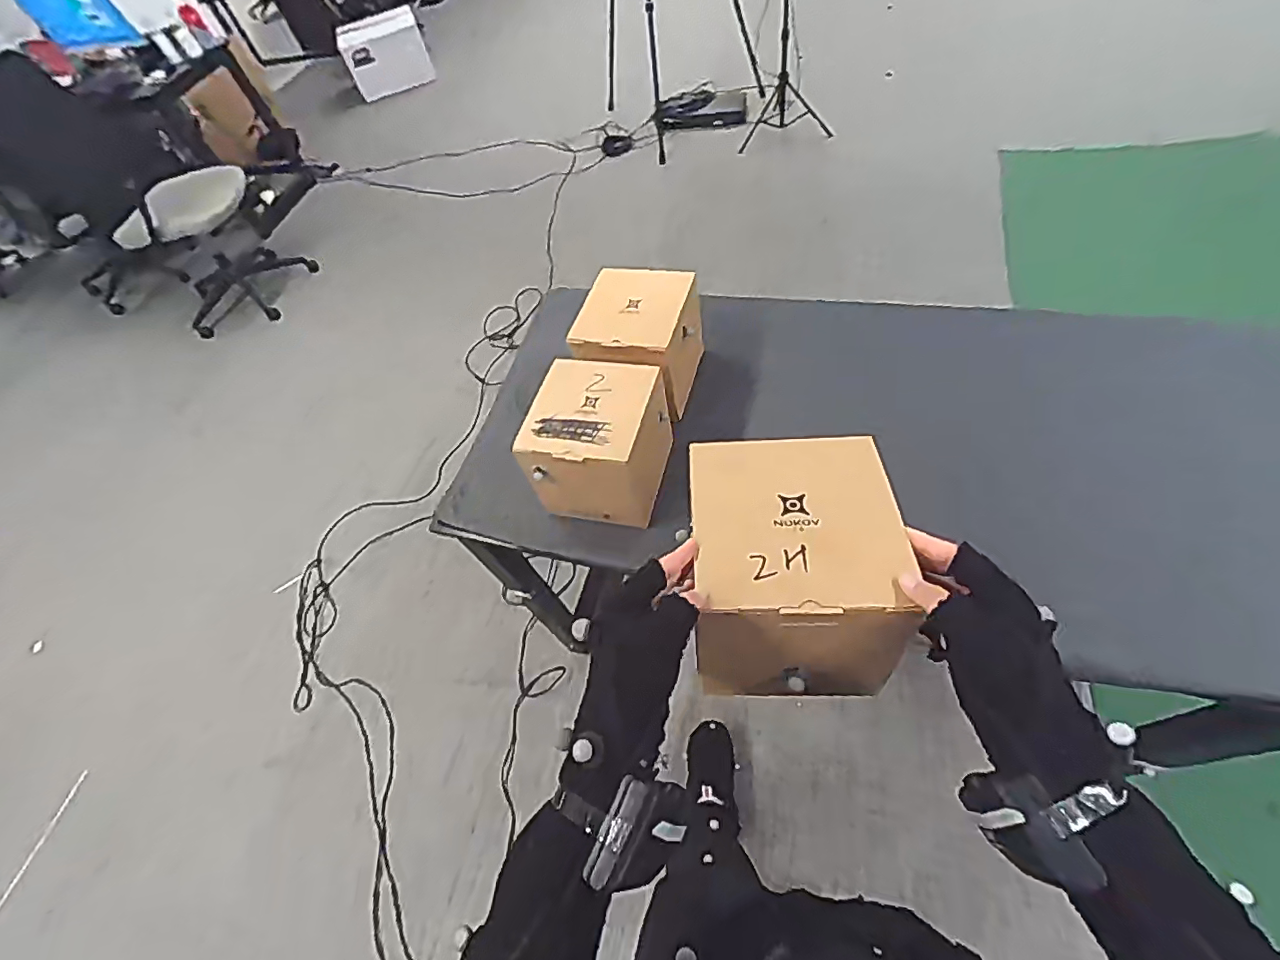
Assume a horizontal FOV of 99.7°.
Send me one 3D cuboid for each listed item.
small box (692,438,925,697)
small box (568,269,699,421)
[{"bbox_3d":[0.132,0.081,0.502,0.168,0.176,0.179,-2,48,6],"label":"small box"},{"bbox_3d":[0.001,-0.227,0.912,0.168,0.176,0.179,10,60,17],"label":"small box"}]
